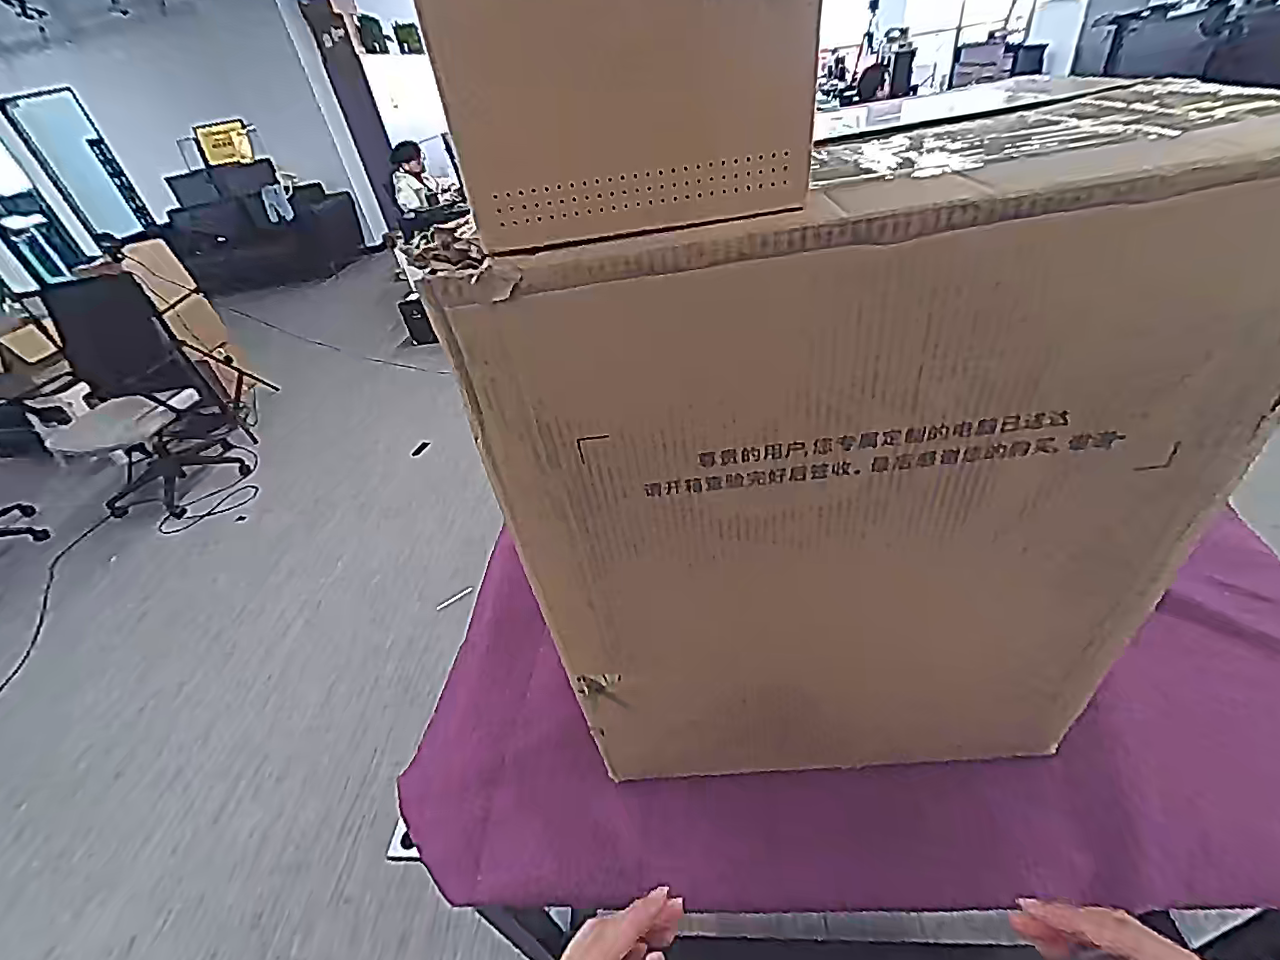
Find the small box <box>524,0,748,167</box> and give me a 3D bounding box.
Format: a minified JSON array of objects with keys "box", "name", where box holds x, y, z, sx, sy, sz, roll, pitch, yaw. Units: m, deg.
[{"box":[0.004,-0.383,0.470,0.168,0.176,0.179,-3,37,7],"name":"small box"}]
